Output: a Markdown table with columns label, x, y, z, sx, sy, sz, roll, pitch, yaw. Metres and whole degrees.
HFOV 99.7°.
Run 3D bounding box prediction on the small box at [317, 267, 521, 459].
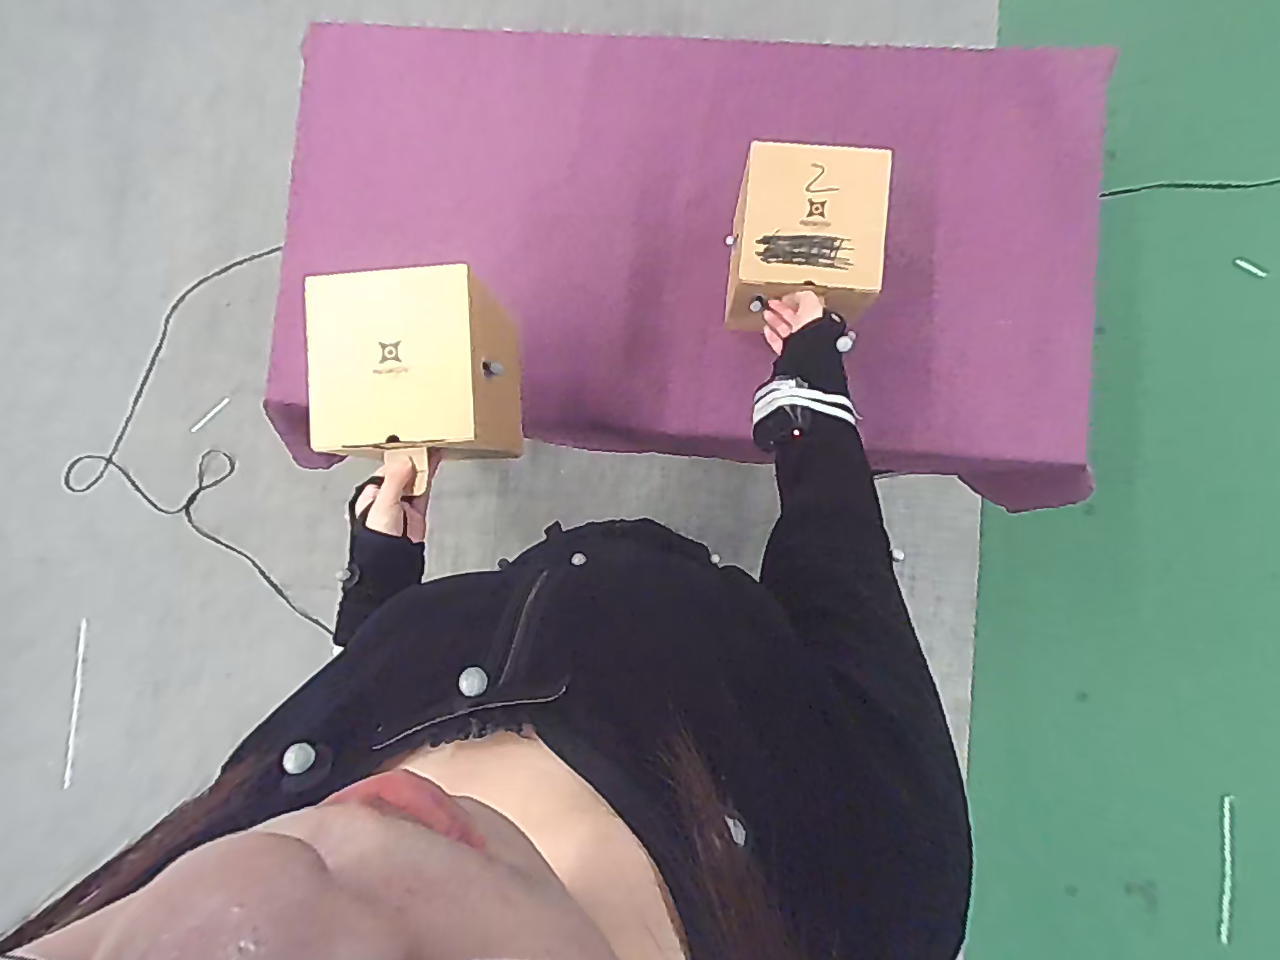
| label | x | y | z | sx | sy | sz | roll | pitch | yaw |
| --- | --- | --- | --- | --- | --- | --- | --- | --- | --- |
| small box | -0.241 | -0.121 | 0.623 | 0.168 | 0.176 | 0.179 | -3 | 88 | 3 |
